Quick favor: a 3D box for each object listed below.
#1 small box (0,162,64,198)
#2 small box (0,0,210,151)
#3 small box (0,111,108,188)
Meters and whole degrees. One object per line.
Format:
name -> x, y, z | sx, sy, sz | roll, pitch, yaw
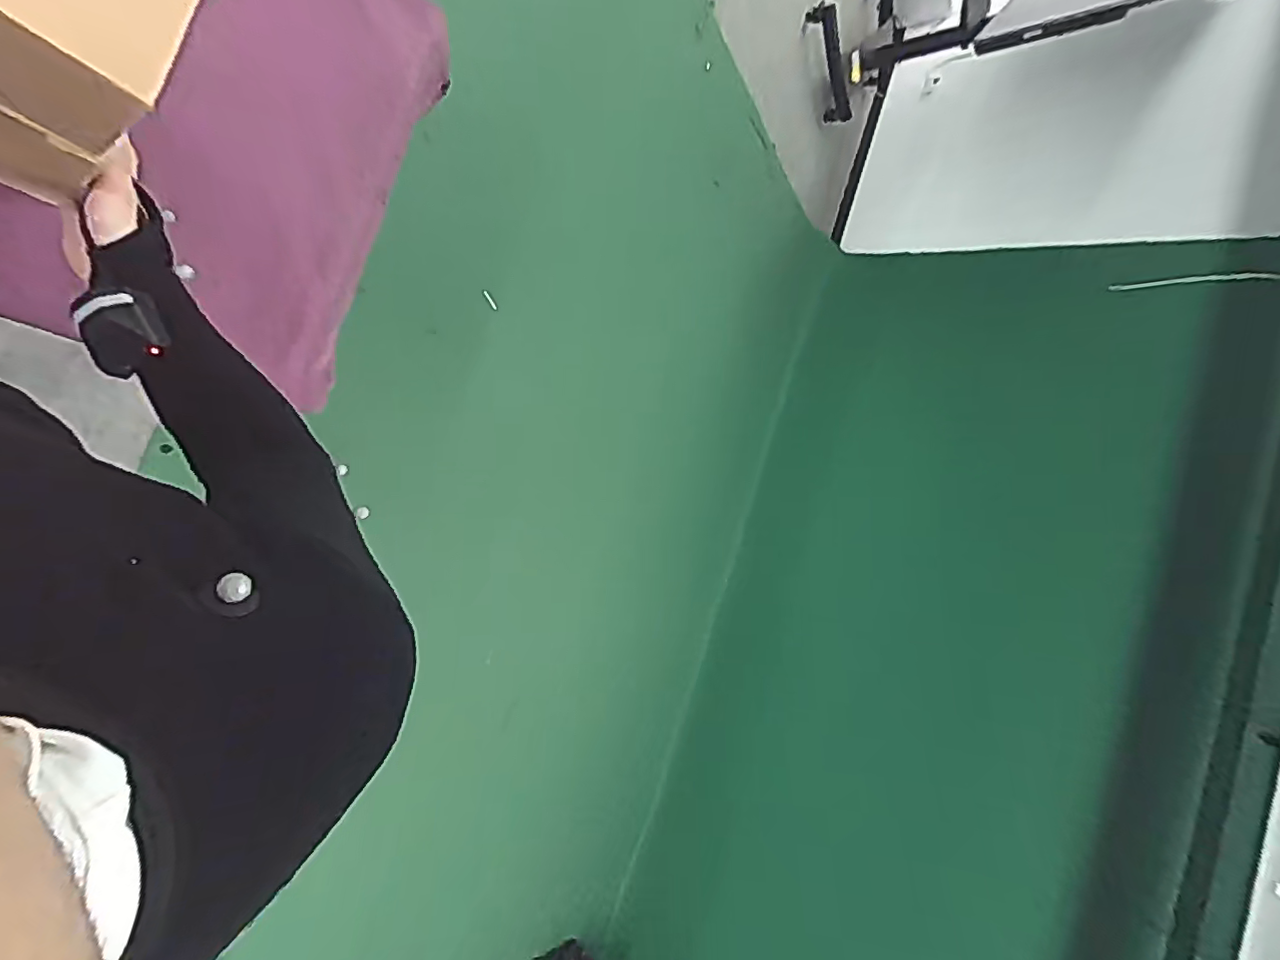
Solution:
small box -> -0.602, -0.383, 0.483 | 0.168, 0.176, 0.179 | 21, 84, -53
small box -> -0.346, -0.318, 0.288 | 0.168, 0.176, 0.179 | 26, 80, -53
small box -> -0.474, -0.343, 0.386 | 0.168, 0.176, 0.179 | 24, 80, -53
